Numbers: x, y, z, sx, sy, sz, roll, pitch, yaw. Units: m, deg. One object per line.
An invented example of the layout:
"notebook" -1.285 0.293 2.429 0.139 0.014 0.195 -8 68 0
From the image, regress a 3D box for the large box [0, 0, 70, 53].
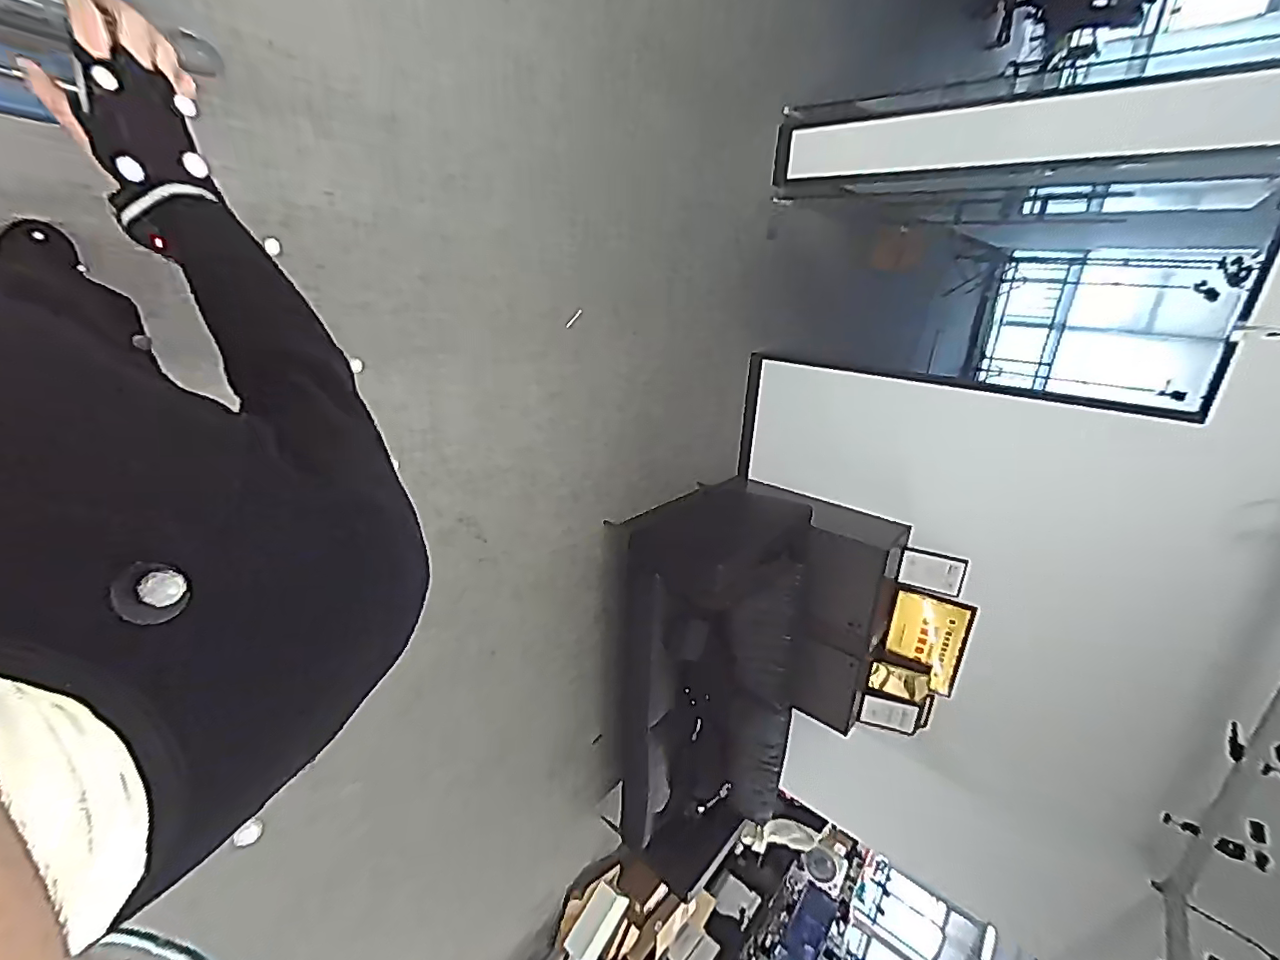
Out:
"large box" -0.964 -0.833 0.647 0.320 0.320 0.408 -15 116 -49
